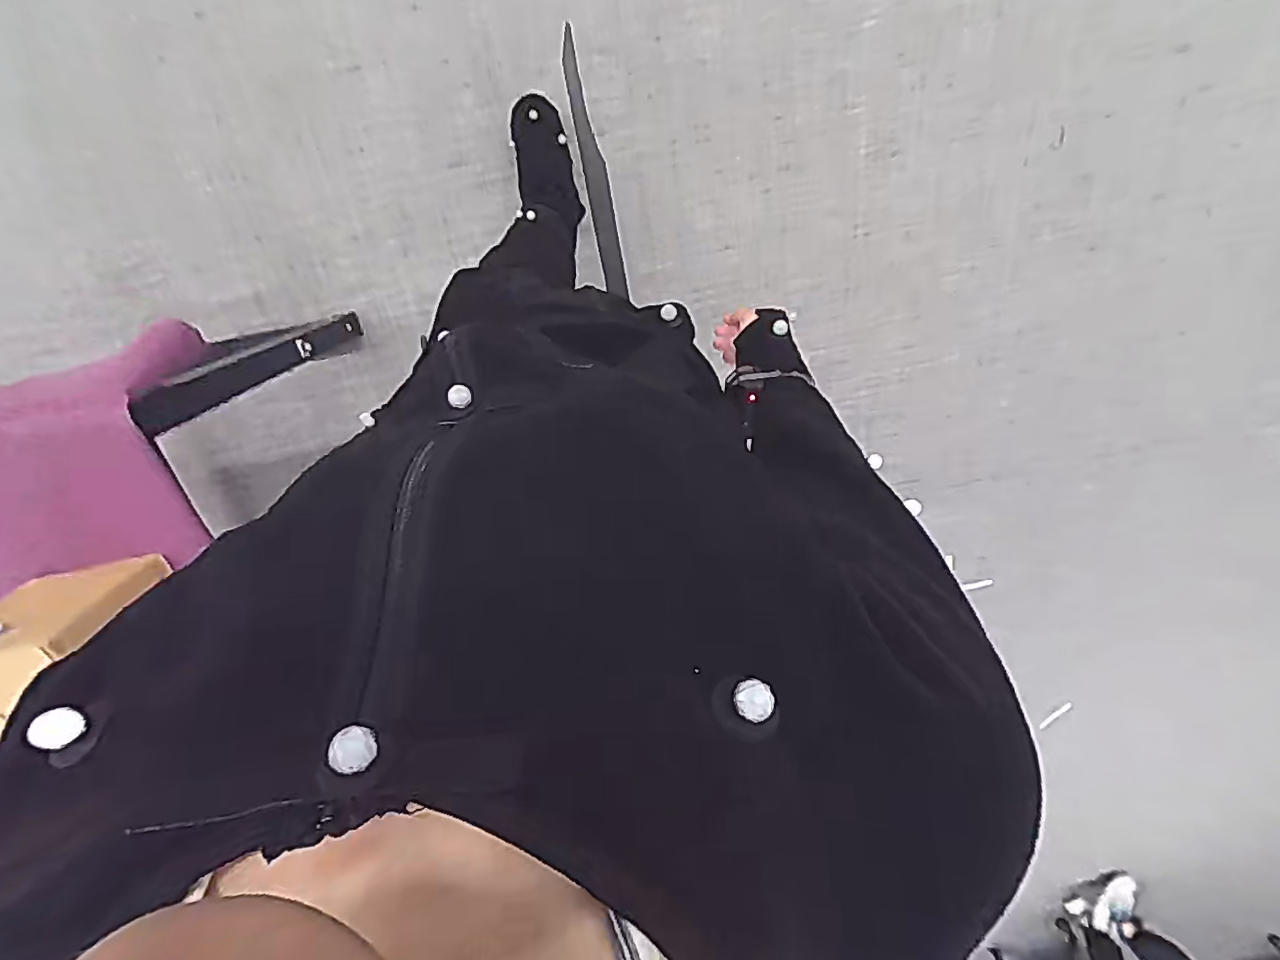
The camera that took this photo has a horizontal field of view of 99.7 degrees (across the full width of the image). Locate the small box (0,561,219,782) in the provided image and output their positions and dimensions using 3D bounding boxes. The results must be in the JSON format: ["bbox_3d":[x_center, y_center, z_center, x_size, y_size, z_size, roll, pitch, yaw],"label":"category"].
[{"bbox_3d":[-0.655,0.216,0.643,0.179,0.176,0.168,-12,116,2],"label":"small box"}]
